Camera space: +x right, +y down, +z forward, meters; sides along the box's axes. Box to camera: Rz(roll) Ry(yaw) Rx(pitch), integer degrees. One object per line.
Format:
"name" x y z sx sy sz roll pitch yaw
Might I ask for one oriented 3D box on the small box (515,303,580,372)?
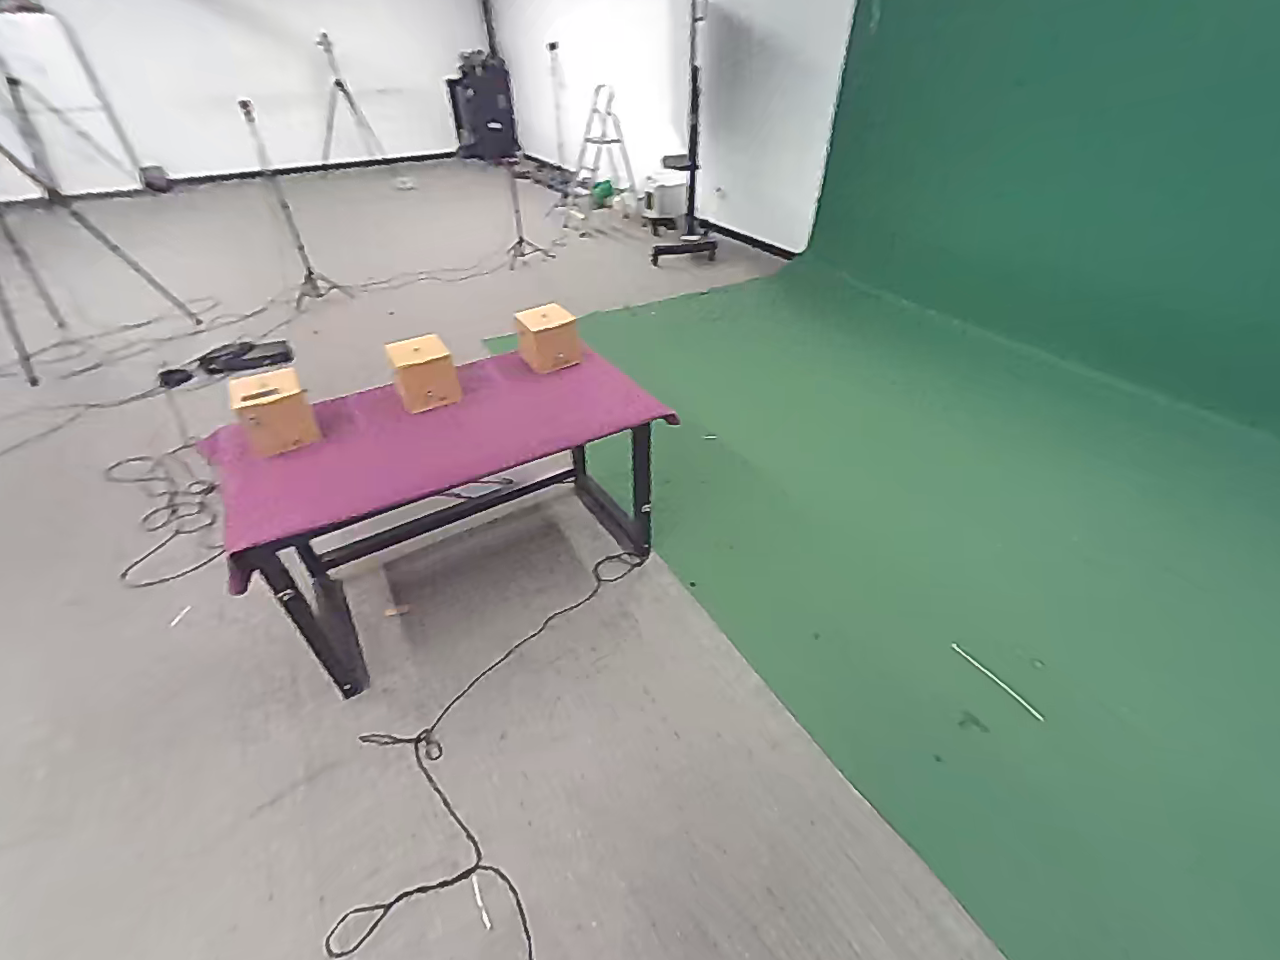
"small box" -0.326 -0.506 1.922 0.168 0.176 0.179 -24 46 -22

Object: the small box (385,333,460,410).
"small box" -0.696 -0.349 1.738 0.168 0.176 0.179 -22 46 -25
